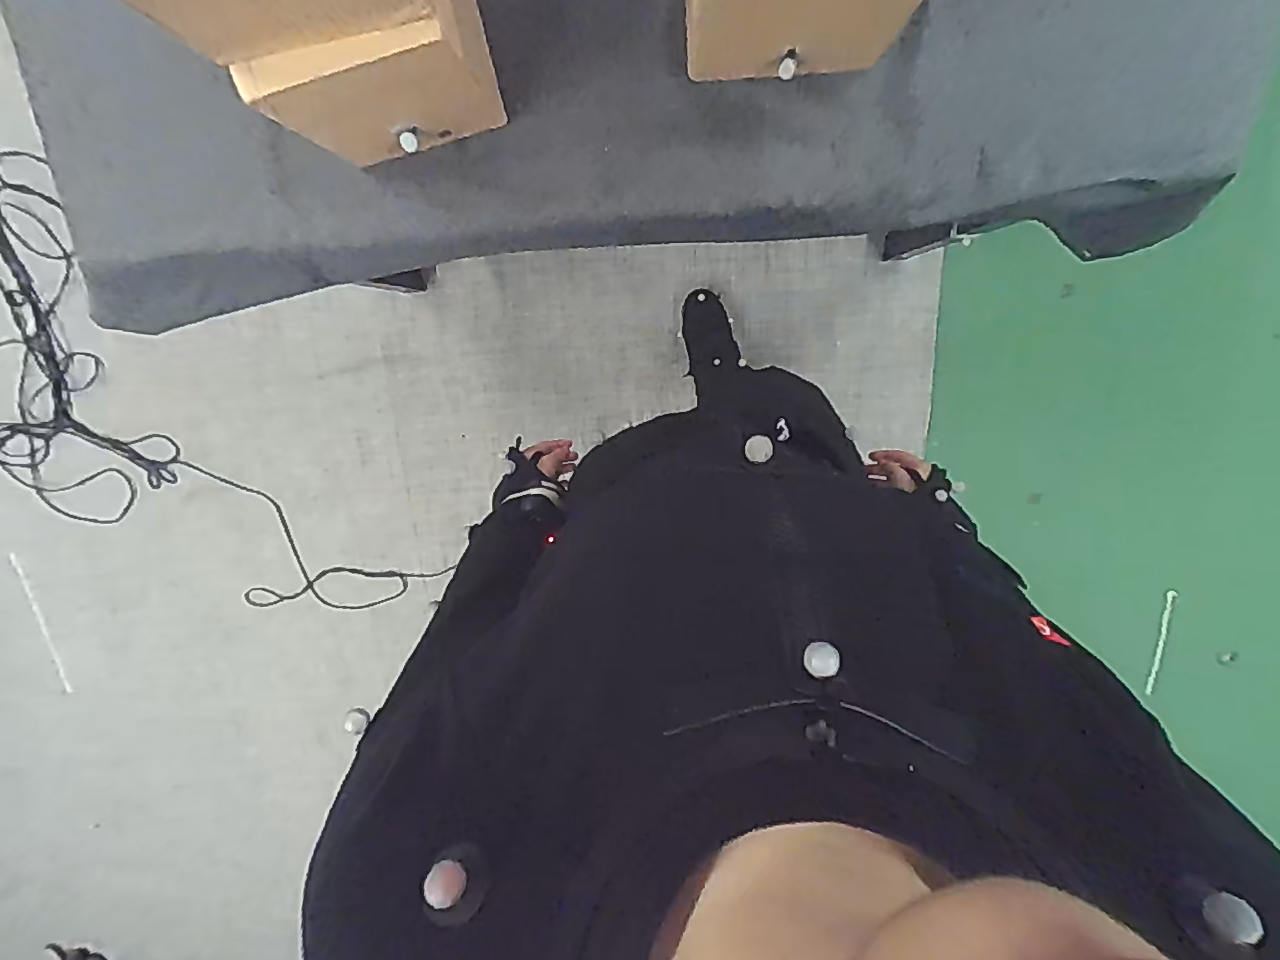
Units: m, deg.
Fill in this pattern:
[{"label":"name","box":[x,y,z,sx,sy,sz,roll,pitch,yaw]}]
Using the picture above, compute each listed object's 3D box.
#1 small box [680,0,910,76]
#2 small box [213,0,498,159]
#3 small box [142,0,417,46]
[{"label":"small box","box":[0.123,-0.448,0.421,0.179,0.176,0.168,-2,105,2]},{"label":"small box","box":[-0.237,-0.402,0.448,0.168,0.176,0.179,-12,105,6]},{"label":"small box","box":[-0.241,-0.374,0.288,0.179,0.176,0.168,-8,106,4]}]
